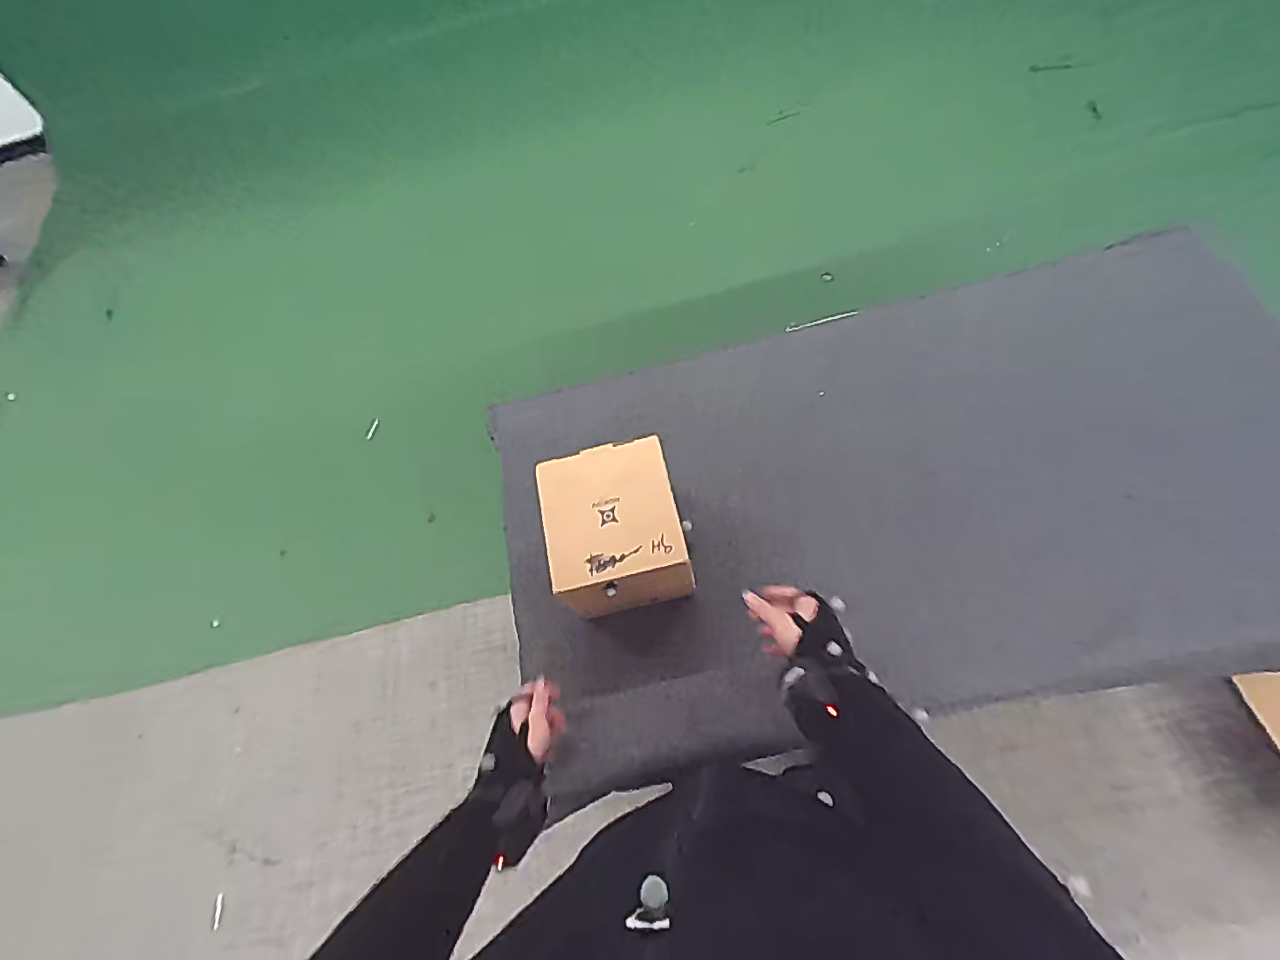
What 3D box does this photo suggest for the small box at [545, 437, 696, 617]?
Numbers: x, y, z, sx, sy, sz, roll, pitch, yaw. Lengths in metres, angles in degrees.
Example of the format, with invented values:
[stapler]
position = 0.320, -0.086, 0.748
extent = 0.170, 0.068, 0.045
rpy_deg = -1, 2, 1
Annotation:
[small box]
position = -0.022, 0.070, 0.739
extent = 0.168, 0.176, 0.179
rpy_deg = -13, 63, 2
